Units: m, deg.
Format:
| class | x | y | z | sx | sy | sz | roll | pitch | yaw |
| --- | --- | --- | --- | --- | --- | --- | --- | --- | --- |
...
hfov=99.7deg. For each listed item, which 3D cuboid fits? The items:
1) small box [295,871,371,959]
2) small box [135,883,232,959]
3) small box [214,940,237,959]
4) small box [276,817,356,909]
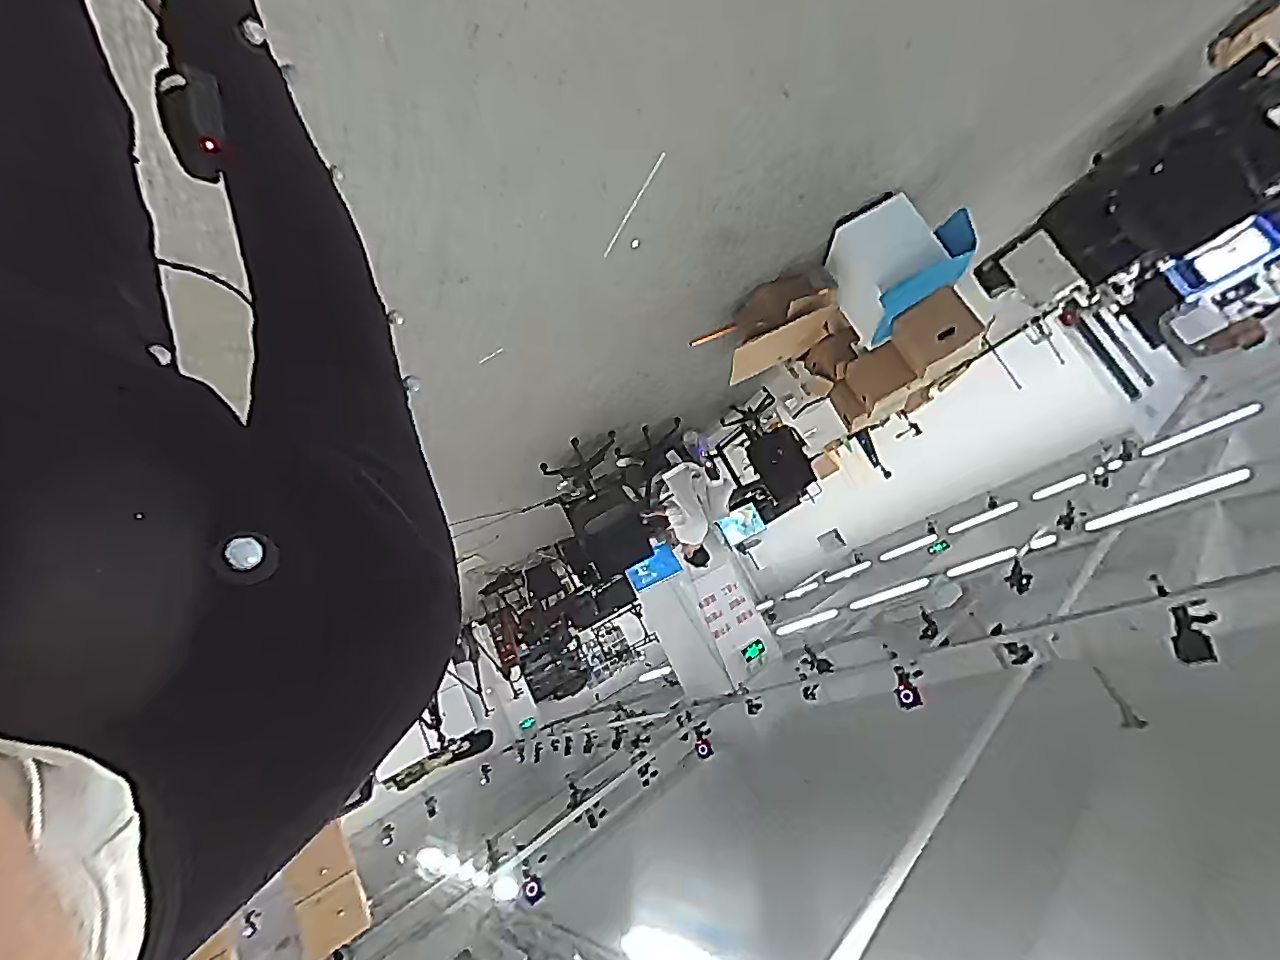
| class | x | y | z | sx | sy | sz | roll | pitch | yaw |
| --- | --- | --- | --- | --- | --- | --- | --- | --- | --- |
| small box | -0.951 | 1.337 | 1.676 | 0.168 | 0.176 | 0.179 | -19 | 166 | -34 |
| small box | -1.277 | 1.279 | 1.513 | 0.179 | 0.176 | 0.168 | -18 | 165 | -38 |
| small box | -1.207 | 1.424 | 1.486 | 0.168 | 0.176 | 0.179 | -16 | 164 | -38 |
| small box | -1.021 | 1.194 | 1.707 | 0.179 | 0.176 | 0.168 | -17 | 164 | -35 |
